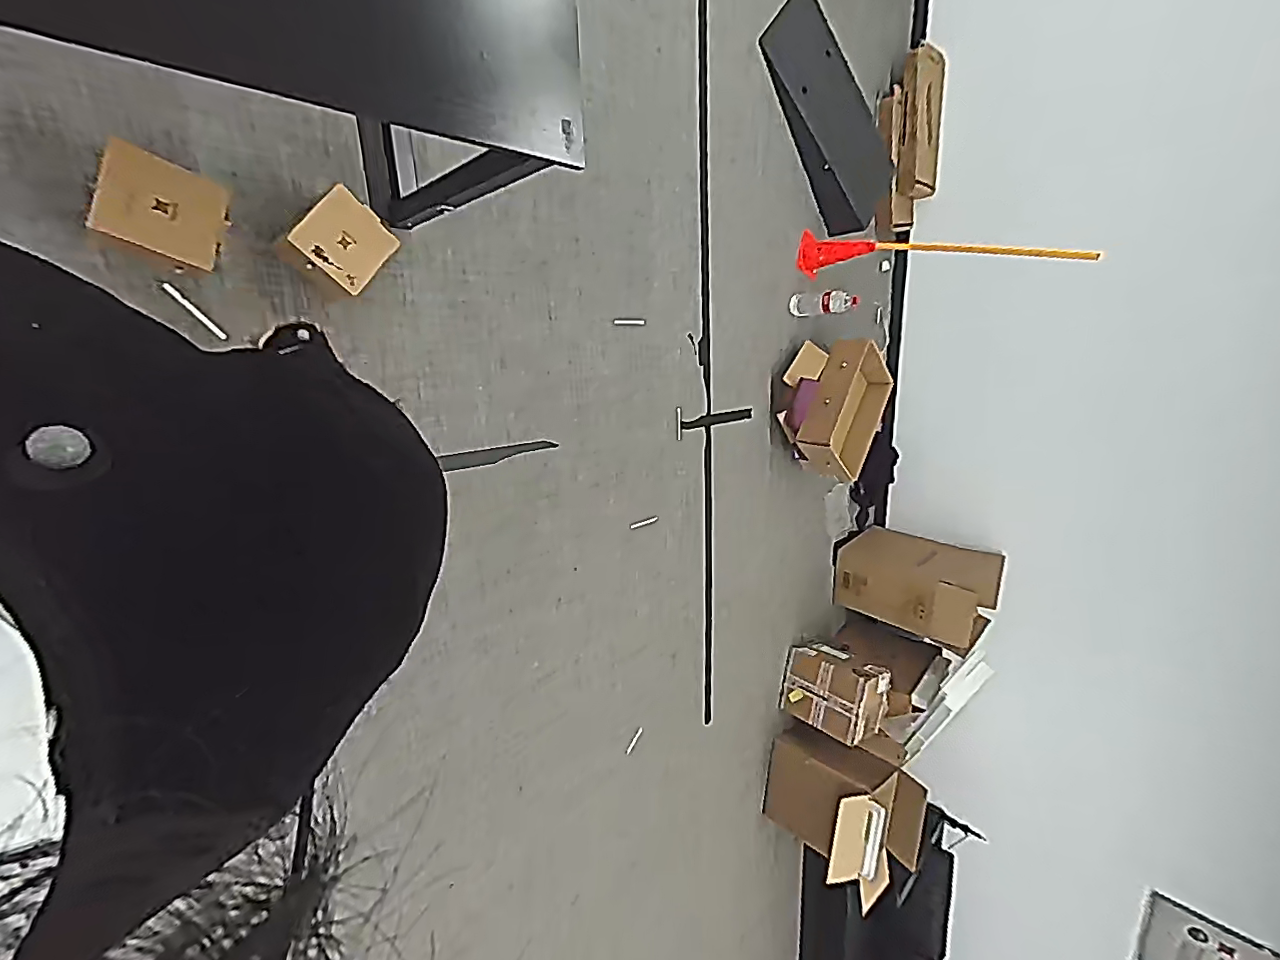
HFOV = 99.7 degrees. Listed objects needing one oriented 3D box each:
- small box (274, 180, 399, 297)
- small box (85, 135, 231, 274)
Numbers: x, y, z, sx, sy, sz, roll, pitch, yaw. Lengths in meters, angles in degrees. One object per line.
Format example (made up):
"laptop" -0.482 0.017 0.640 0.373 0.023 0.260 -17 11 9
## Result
"small box" -0.702 -0.547 1.243 0.168 0.176 0.179 44 68 -41
"small box" -0.922 -0.511 1.037 0.179 0.176 0.168 14 89 -45
